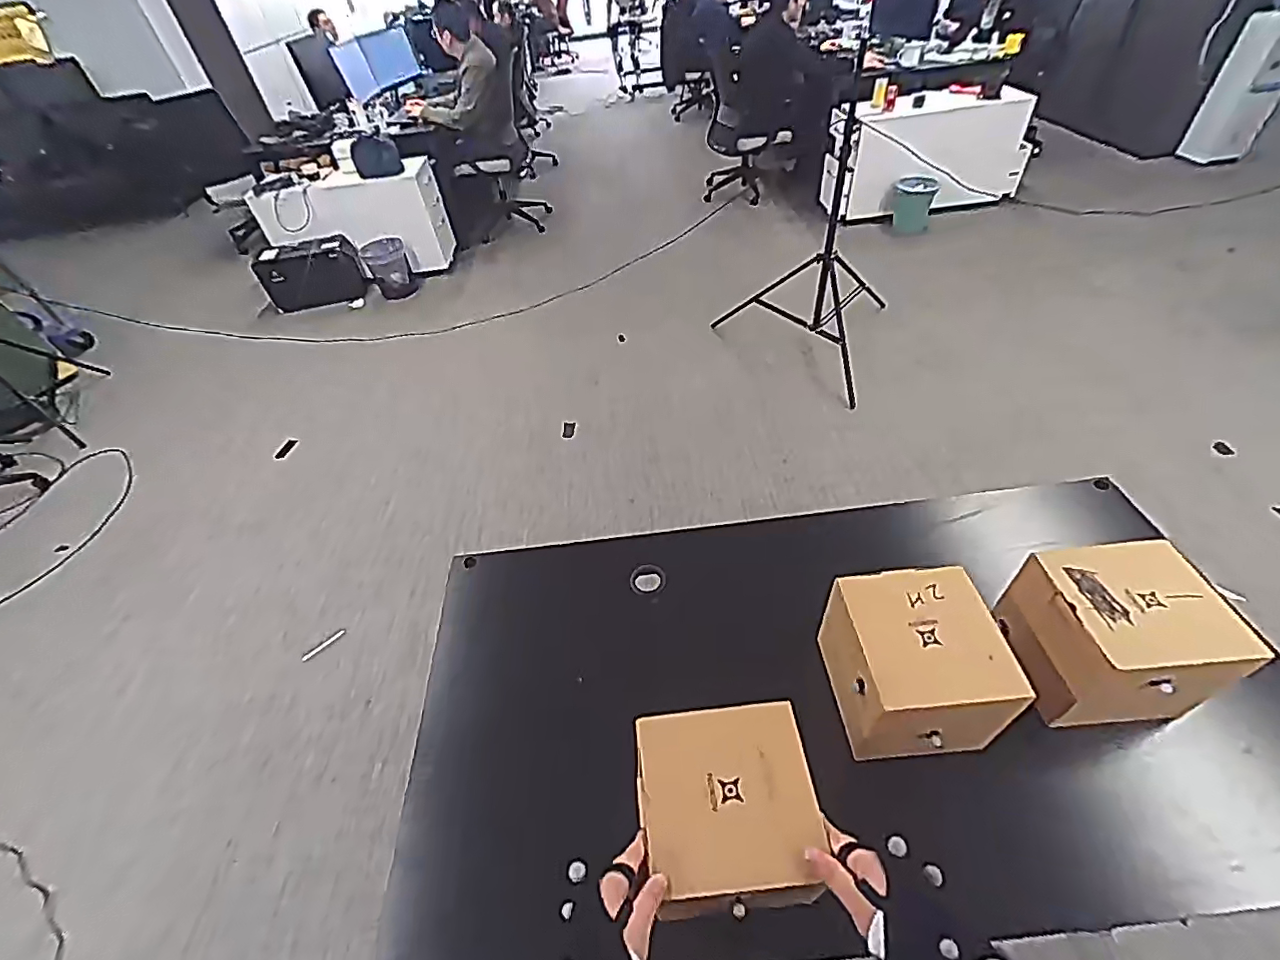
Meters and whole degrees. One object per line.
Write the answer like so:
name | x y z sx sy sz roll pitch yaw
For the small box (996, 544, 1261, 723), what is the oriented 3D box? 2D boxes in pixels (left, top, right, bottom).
small box | 0.608 0.205 0.712 0.179 0.176 0.168 -5 45 2

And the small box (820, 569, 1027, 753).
small box | 0.350 0.243 0.710 0.168 0.176 0.179 -6 45 1

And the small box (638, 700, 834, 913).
small box | 0.097 0.374 0.617 0.179 0.176 0.168 -7 47 -1
